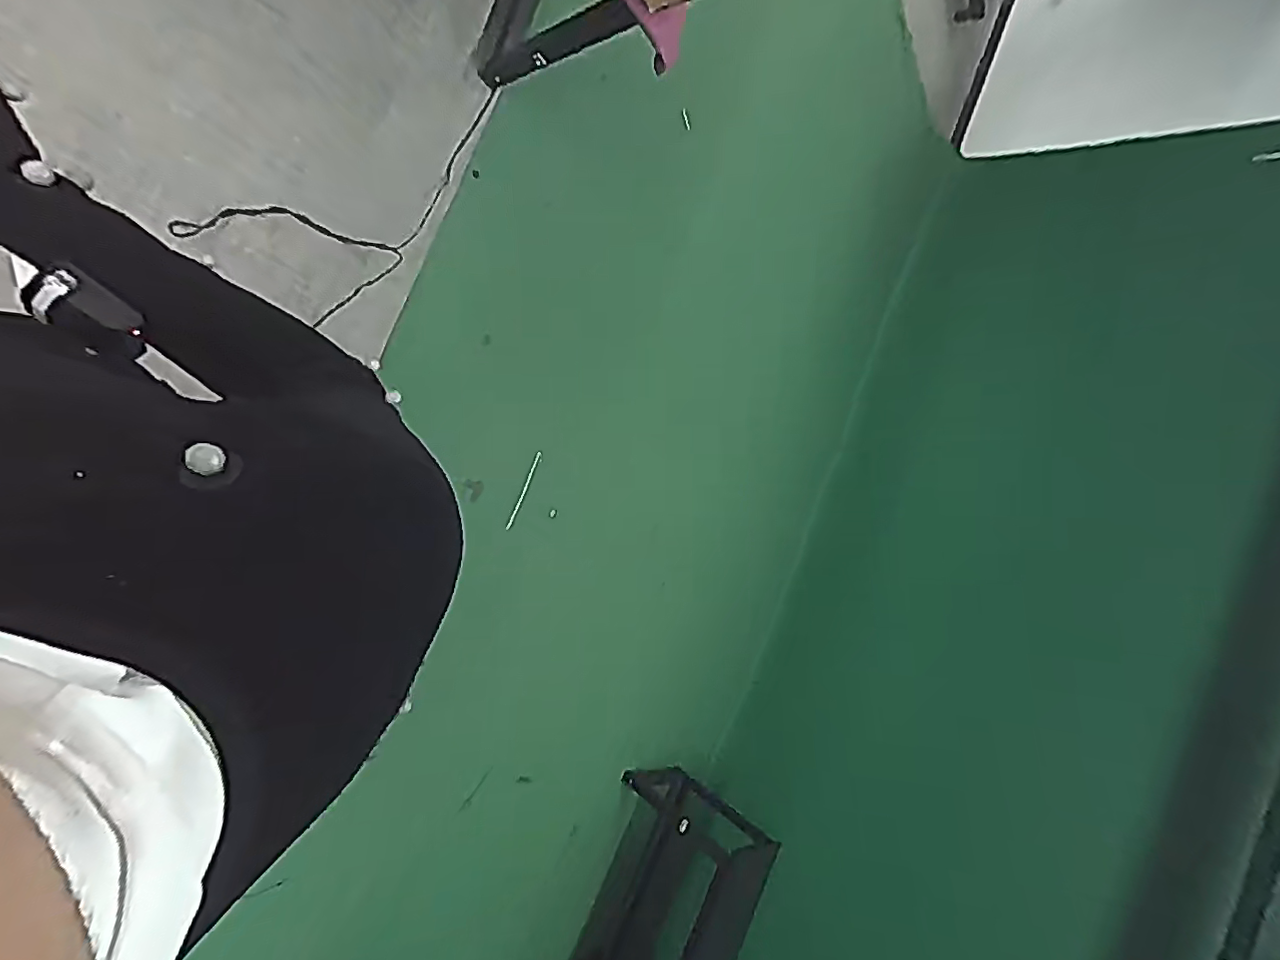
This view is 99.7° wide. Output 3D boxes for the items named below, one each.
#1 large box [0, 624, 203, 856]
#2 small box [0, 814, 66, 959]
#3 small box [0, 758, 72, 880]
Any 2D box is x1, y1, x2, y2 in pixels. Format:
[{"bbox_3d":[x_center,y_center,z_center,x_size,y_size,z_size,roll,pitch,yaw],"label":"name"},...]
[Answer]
[{"bbox_3d":[-1.248,0.577,1.147,0.408,0.320,0.320,-22,121,-42],"label":"large box"},{"bbox_3d":[-1.009,0.660,0.814,0.168,0.176,0.179,-21,117,-43],"label":"small box"},{"bbox_3d":[-1.123,0.628,0.926,0.179,0.176,0.168,-22,120,-41],"label":"small box"}]
